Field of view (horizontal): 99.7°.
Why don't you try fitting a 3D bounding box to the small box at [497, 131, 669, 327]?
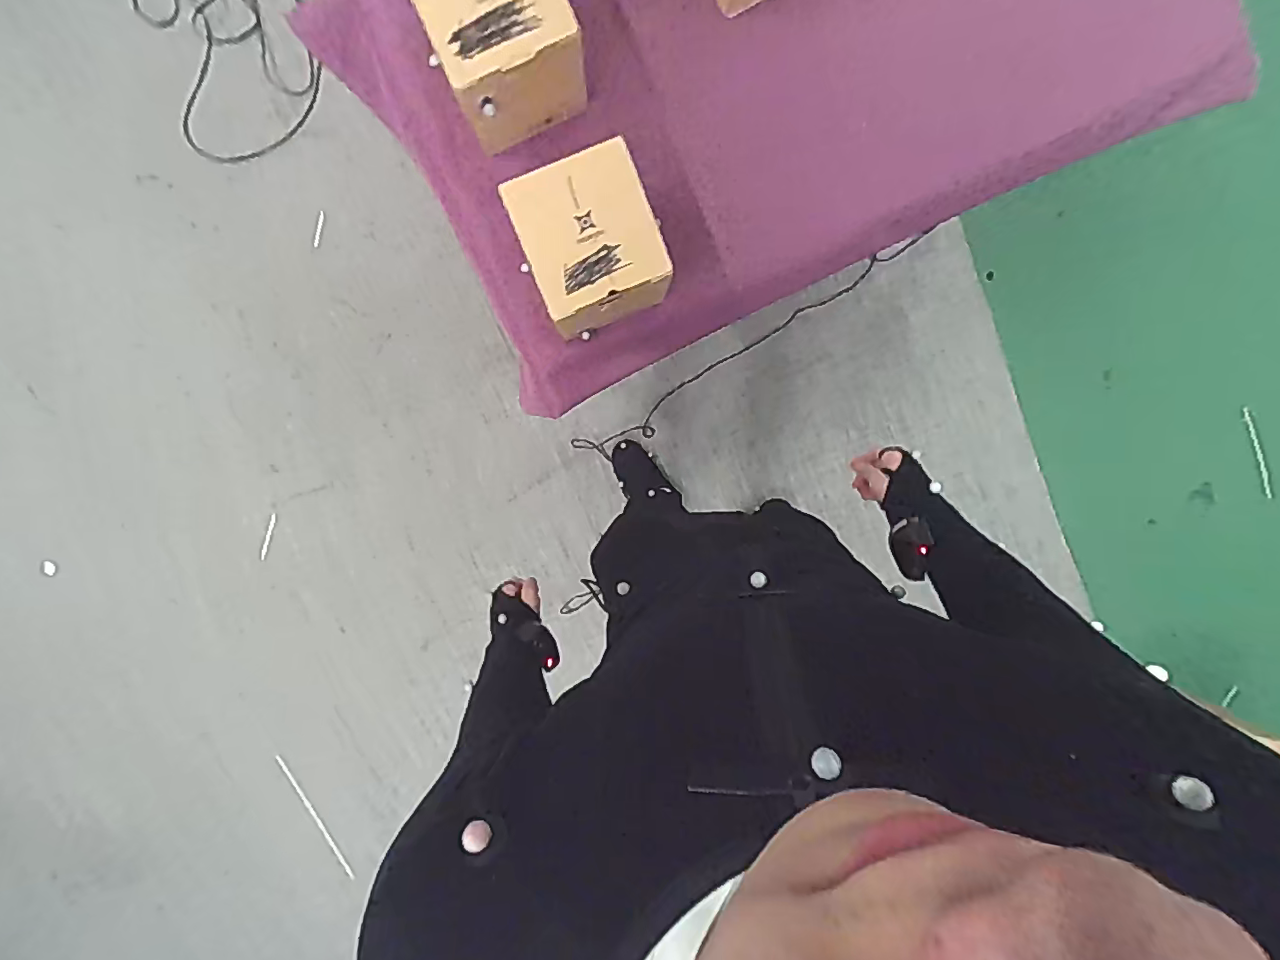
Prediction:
[{"bbox_3d":[-0.071,-0.323,0.742,0.168,0.176,0.179,-23,97,0],"label":"small box"}]
